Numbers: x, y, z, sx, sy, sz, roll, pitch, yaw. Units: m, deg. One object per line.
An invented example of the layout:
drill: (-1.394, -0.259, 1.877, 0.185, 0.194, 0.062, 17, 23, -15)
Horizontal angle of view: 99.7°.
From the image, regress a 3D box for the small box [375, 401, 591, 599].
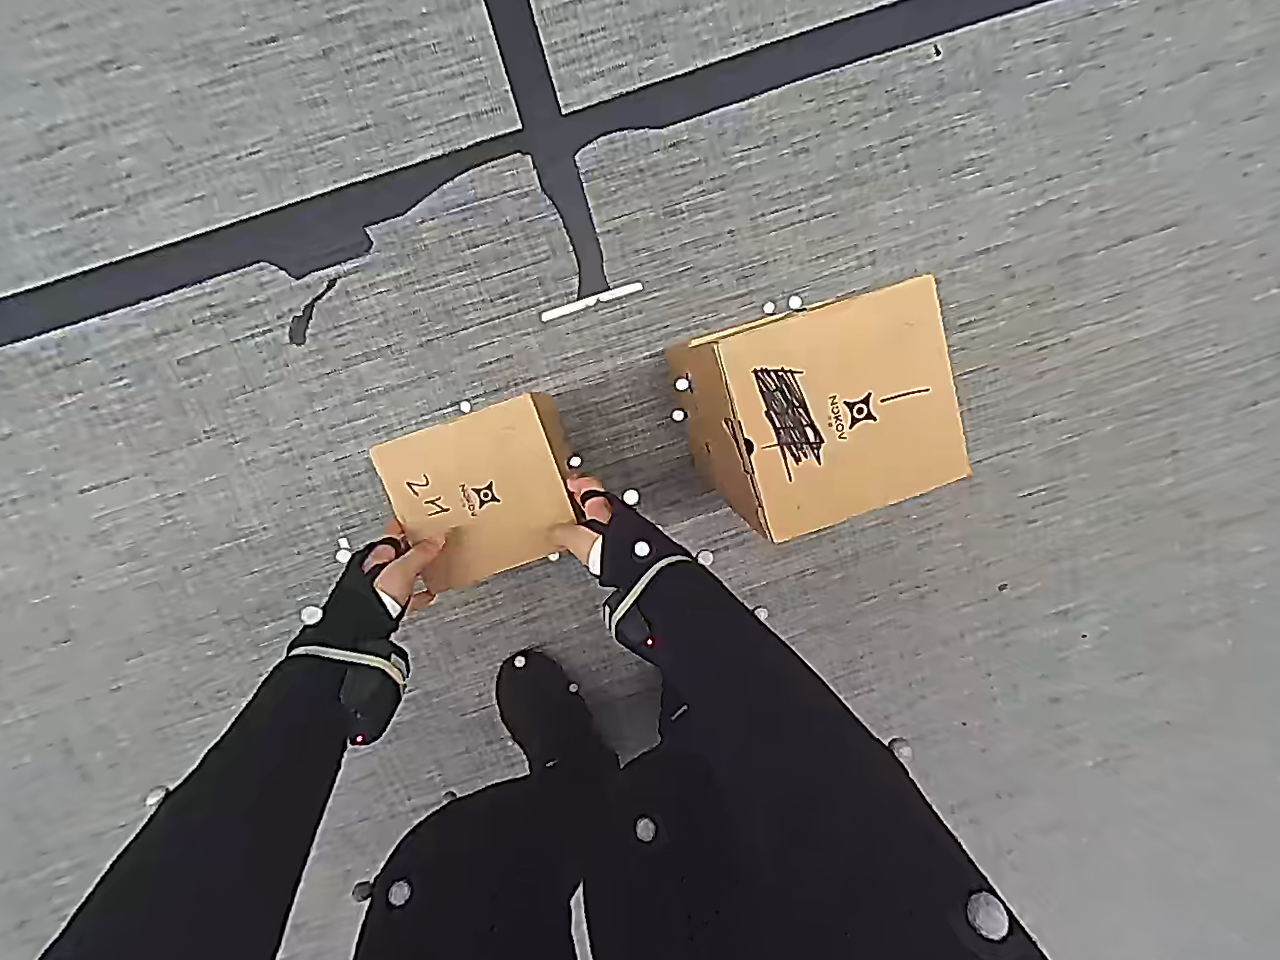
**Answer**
small box: (-0.164, 0.010, 0.630, 0.179, 0.176, 0.168, -19, 99, 1)

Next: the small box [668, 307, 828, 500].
small box: (0.142, -0.097, 0.656, 0.168, 0.176, 0.179, -17, 104, -2)

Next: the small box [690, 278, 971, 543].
small box: (0.154, -0.064, 0.493, 0.179, 0.176, 0.168, -19, 103, -3)
